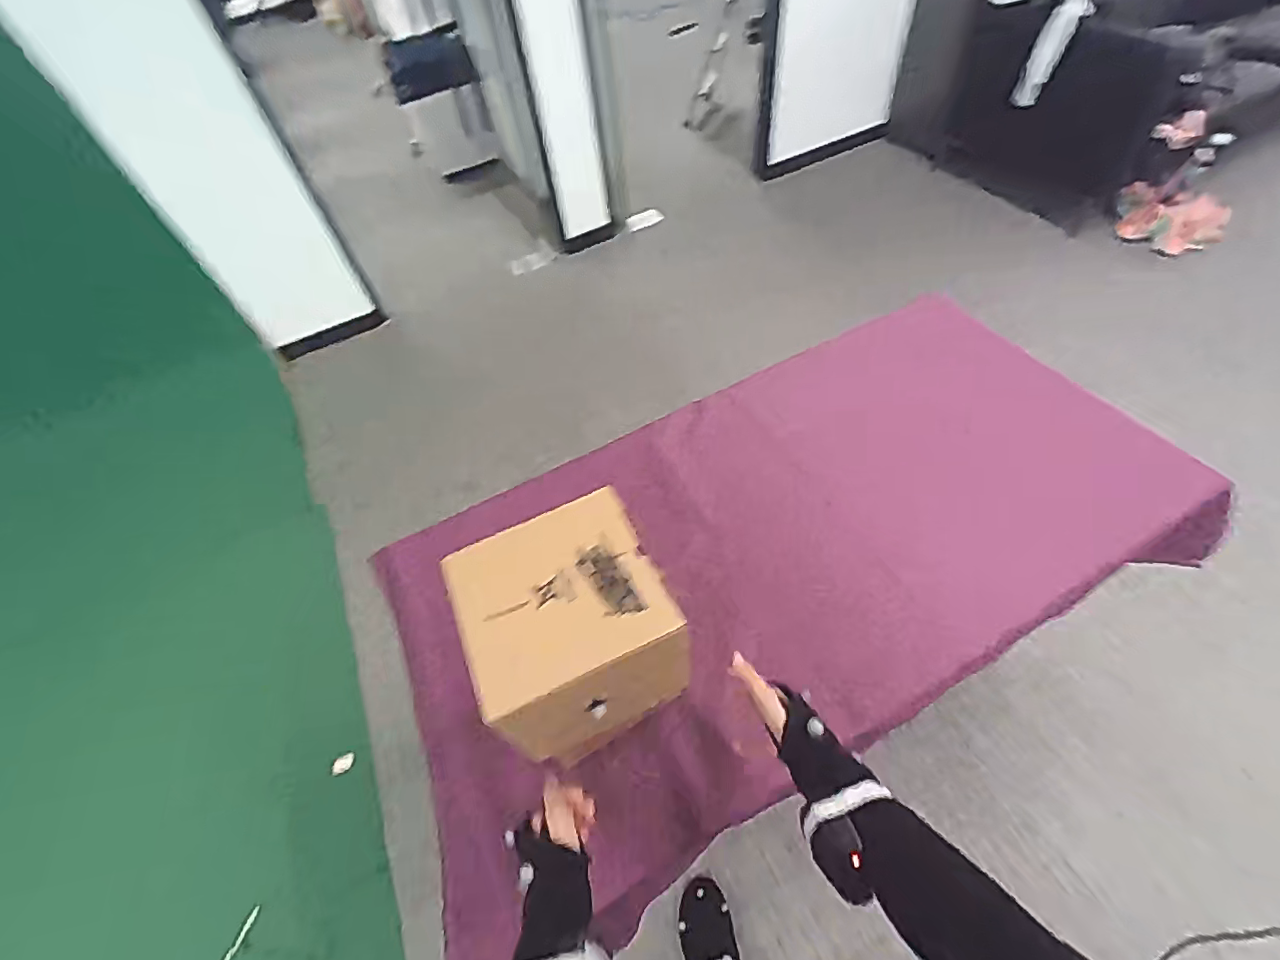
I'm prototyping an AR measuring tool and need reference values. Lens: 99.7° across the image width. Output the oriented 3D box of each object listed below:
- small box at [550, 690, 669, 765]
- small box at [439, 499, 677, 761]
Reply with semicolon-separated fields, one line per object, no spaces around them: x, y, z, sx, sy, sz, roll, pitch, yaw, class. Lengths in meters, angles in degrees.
-0.072;0.233;0.693;0.179;0.176;0.168;-29;55;-13;small box
-0.073;0.154;0.545;0.179;0.176;0.168;-24;55;-9;small box
